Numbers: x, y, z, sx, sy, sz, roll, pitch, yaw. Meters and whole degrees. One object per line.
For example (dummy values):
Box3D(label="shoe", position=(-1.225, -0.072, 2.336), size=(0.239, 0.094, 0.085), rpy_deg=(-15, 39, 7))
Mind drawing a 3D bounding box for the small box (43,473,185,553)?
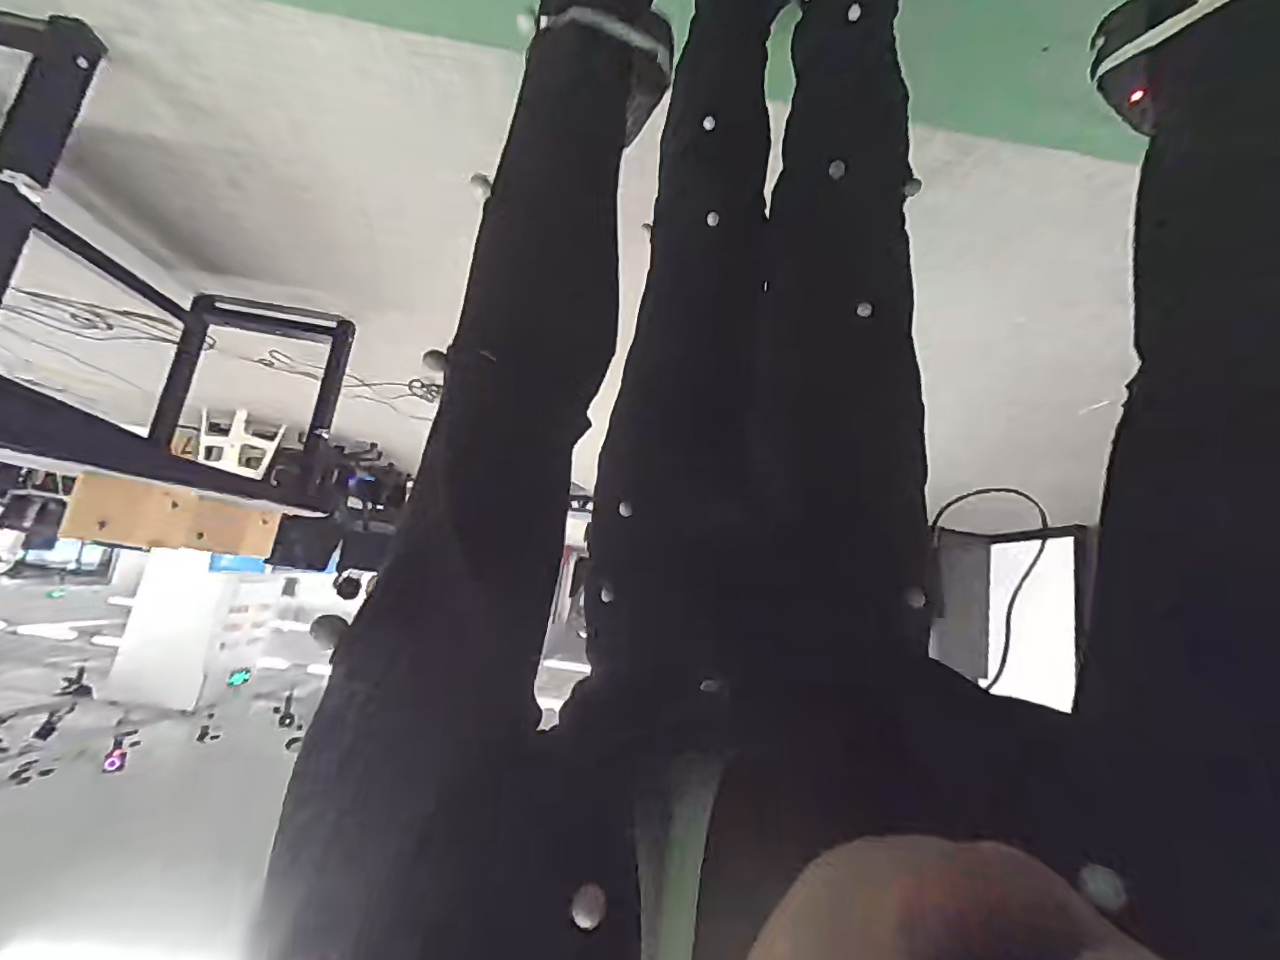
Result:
Box3D(label="small box", position=(-1.315, 0.084, 1.367), size=(0.179, 0.176, 0.168), rpy_deg=(9, 168, -3))

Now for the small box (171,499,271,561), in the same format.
Box3D(label="small box", position=(-1.333, 0.159, 1.734), size=(0.179, 0.176, 0.168), rpy_deg=(9, 169, -2))
